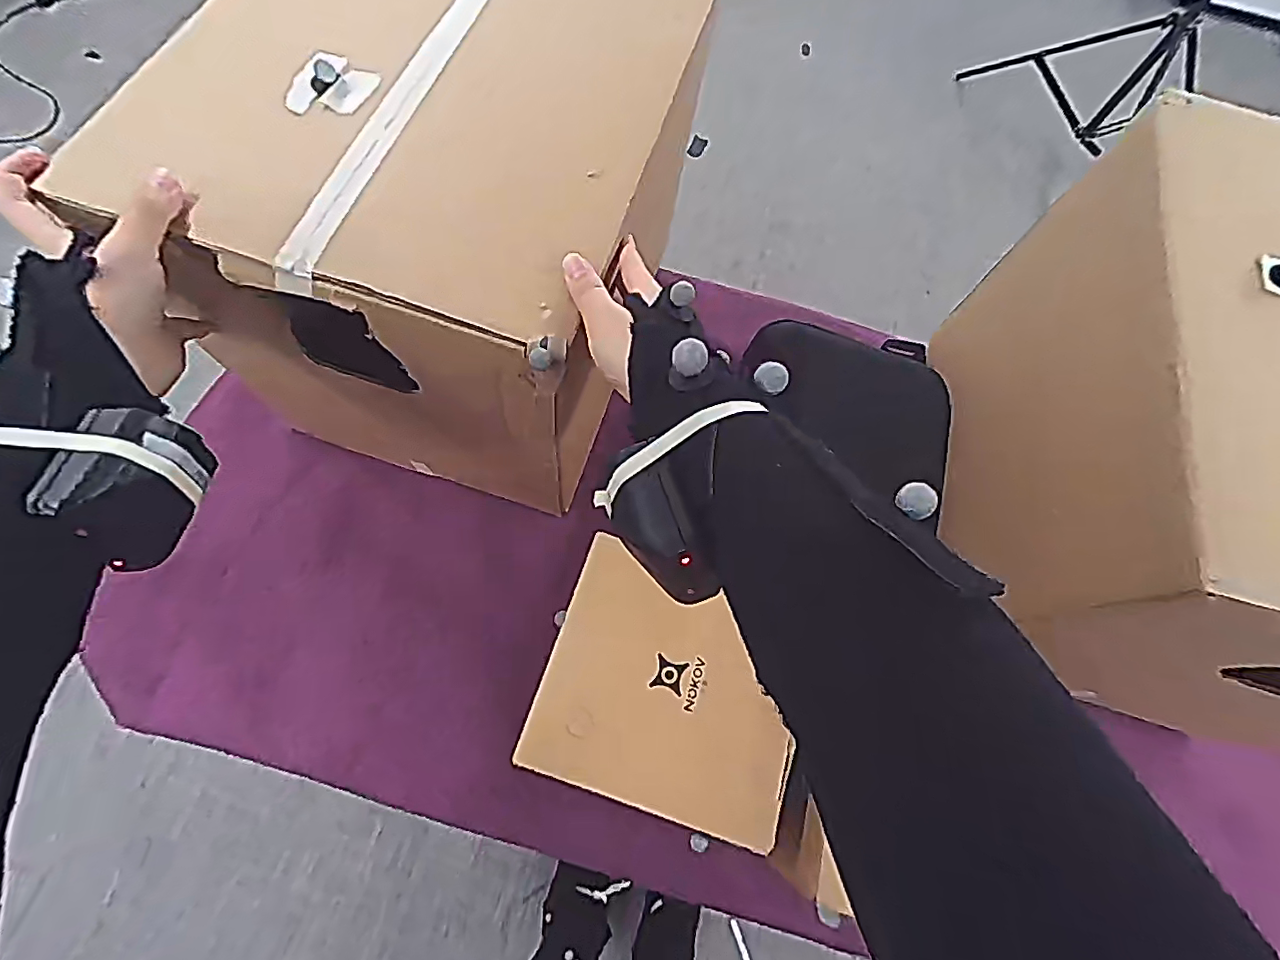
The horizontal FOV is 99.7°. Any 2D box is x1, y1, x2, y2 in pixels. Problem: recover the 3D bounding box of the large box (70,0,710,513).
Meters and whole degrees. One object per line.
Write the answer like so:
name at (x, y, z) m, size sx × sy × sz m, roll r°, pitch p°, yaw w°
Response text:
large box at (-0.151, -0.230, 0.519) m, size 0.320 × 0.320 × 0.408 m, roll 17°, pitch 70°, yaw 0°
